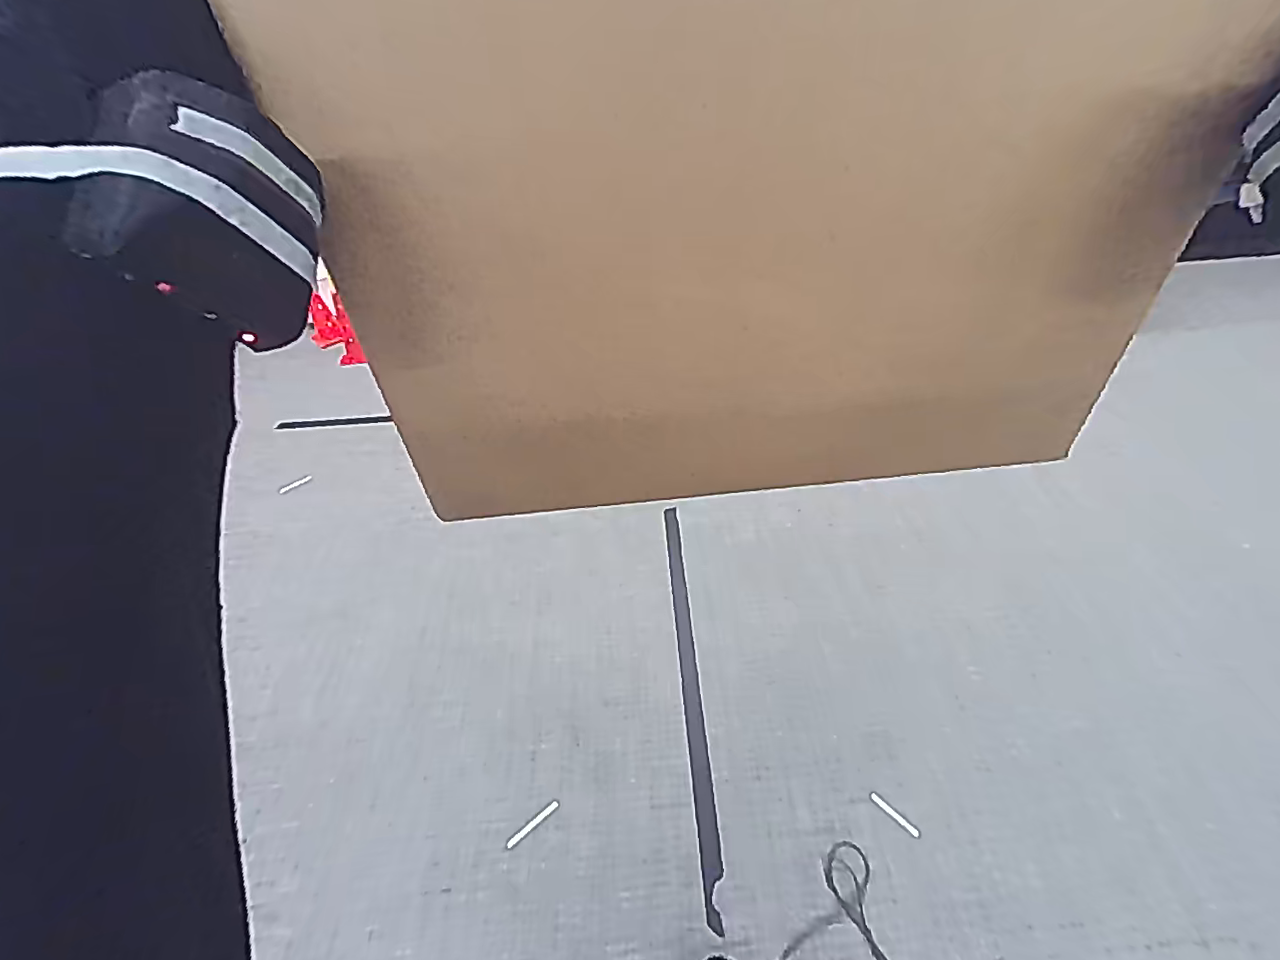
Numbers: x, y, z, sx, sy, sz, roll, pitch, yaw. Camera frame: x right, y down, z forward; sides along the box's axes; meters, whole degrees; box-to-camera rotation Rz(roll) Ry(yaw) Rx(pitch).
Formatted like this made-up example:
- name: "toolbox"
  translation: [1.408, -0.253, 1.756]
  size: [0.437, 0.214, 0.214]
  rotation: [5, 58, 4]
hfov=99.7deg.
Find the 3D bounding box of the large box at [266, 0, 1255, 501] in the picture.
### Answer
- name: "large box"
  translation: [0.050, -0.213, 0.377]
  size: [0.408, 0.320, 0.320]
  rotation: [-6, 41, -2]
